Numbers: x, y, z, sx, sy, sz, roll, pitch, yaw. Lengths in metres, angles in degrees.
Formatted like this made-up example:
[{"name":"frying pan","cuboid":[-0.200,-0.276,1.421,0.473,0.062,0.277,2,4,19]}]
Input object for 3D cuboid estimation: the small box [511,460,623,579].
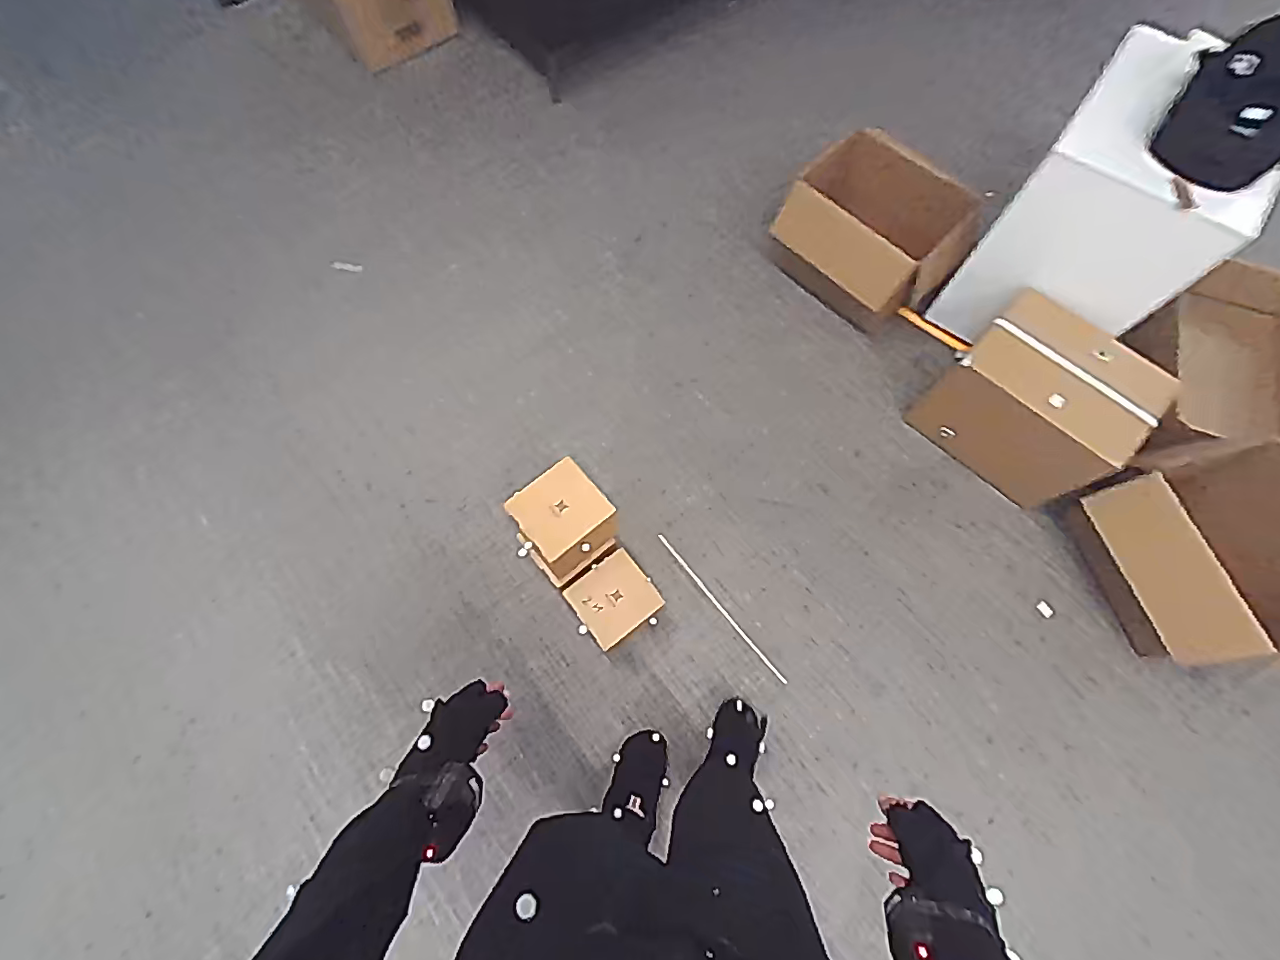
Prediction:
[{"name":"small box","cuboid":[-0.155,0.092,1.193,0.179,0.176,0.168,-38,73,-14]}]
